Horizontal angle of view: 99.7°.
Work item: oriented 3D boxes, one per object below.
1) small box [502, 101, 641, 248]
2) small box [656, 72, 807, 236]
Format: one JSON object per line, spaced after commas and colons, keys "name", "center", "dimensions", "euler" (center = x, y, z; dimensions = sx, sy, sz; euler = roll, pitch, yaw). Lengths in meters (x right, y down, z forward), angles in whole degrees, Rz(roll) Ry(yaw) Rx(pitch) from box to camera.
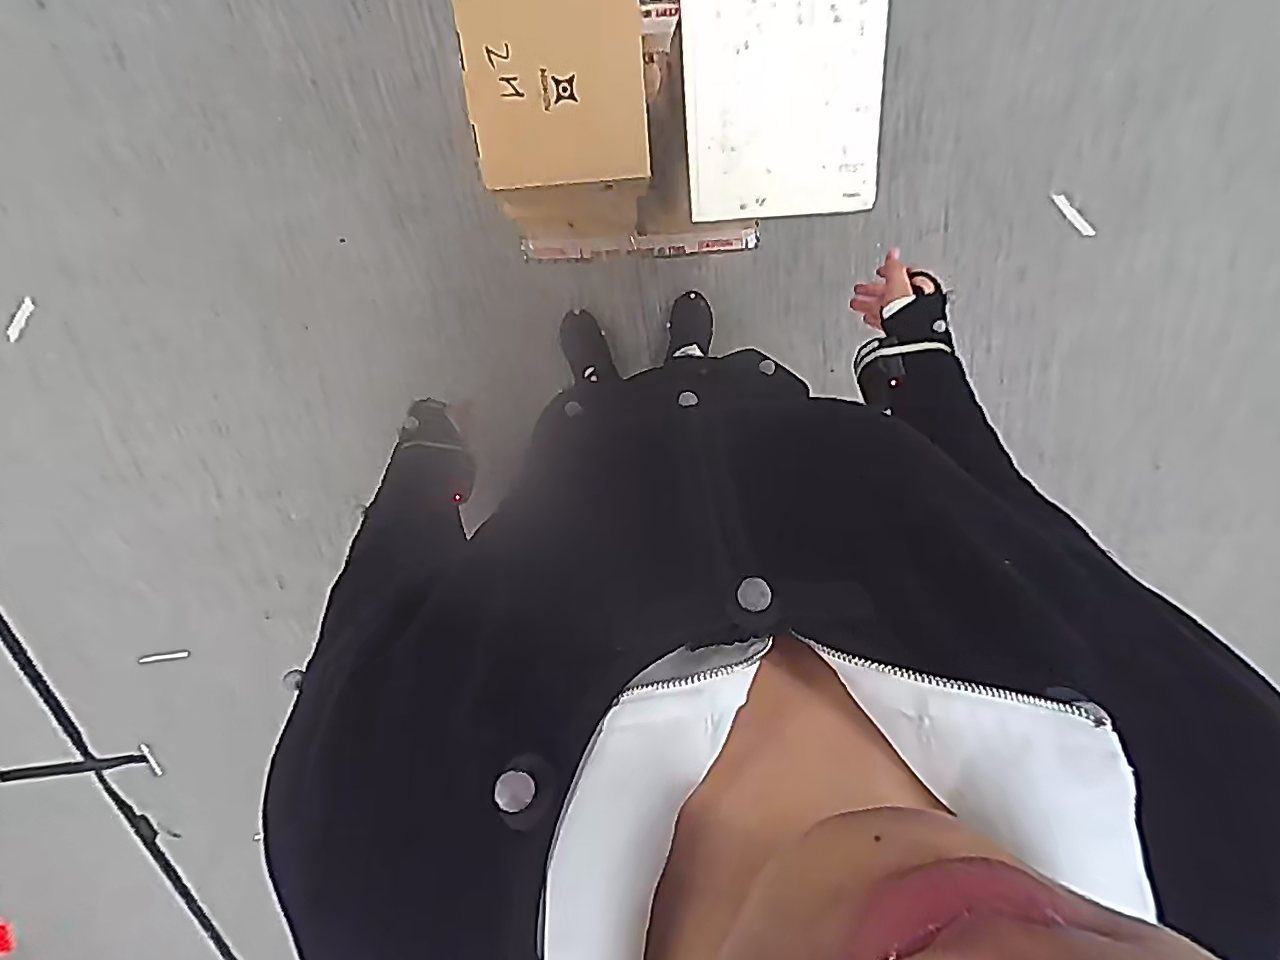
{"name": "small box", "center": [-0.089, -0.430, 0.783], "dimensions": [0.179, 0.176, 0.168], "euler": [0, 112, 0]}
{"name": "small box", "center": [0.126, -0.457, 0.782], "dimensions": [0.179, 0.176, 0.168], "euler": [-10, 111, 0]}
